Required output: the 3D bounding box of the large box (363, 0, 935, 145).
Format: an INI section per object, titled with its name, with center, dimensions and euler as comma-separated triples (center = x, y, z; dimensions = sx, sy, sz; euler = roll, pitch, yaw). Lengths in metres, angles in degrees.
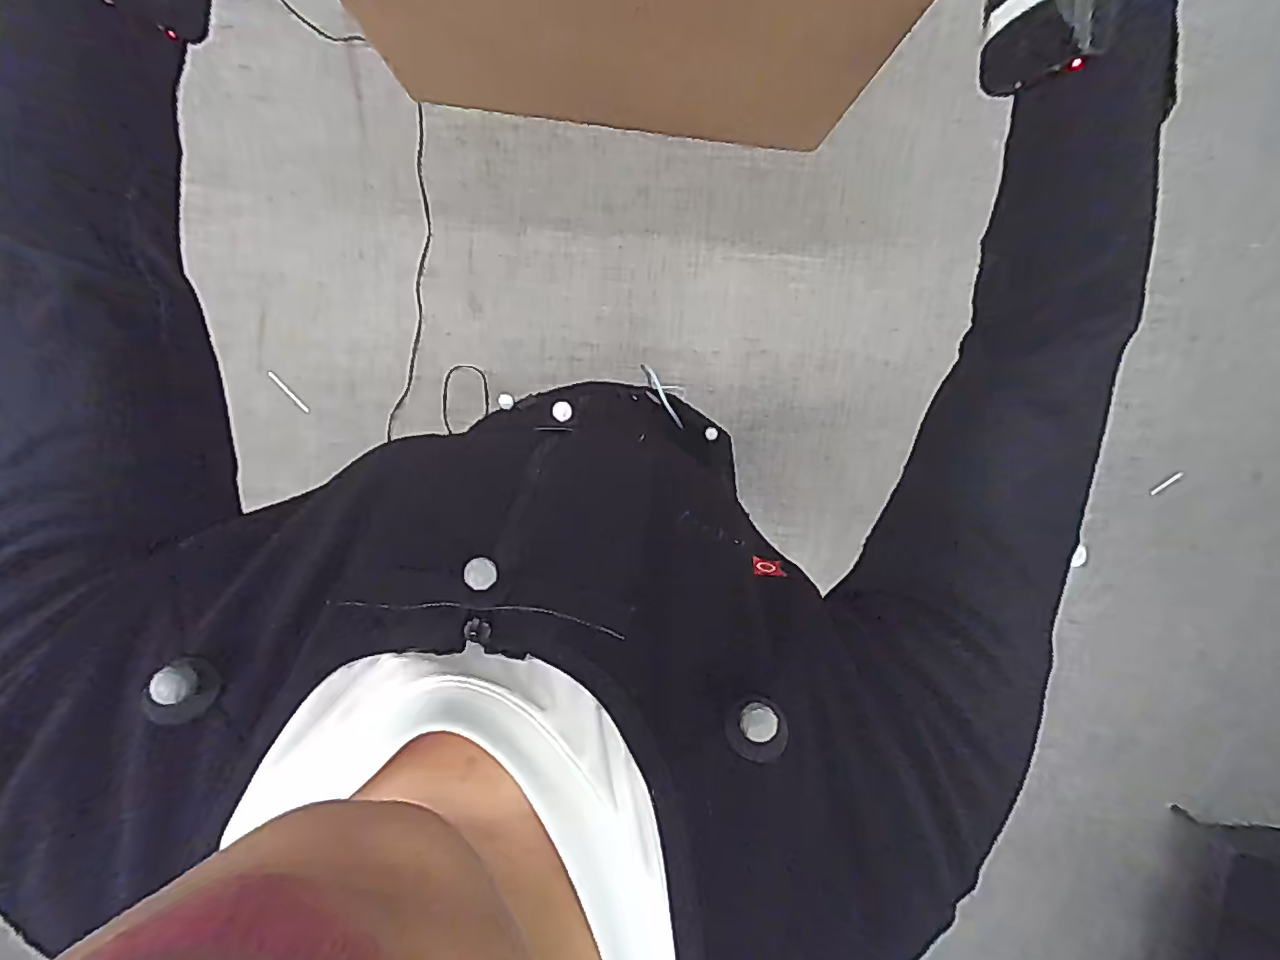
[large box]
center = 0.005, -0.479, 0.371
dimensions = 0.408, 0.320, 0.320
euler = 5, 100, -4
